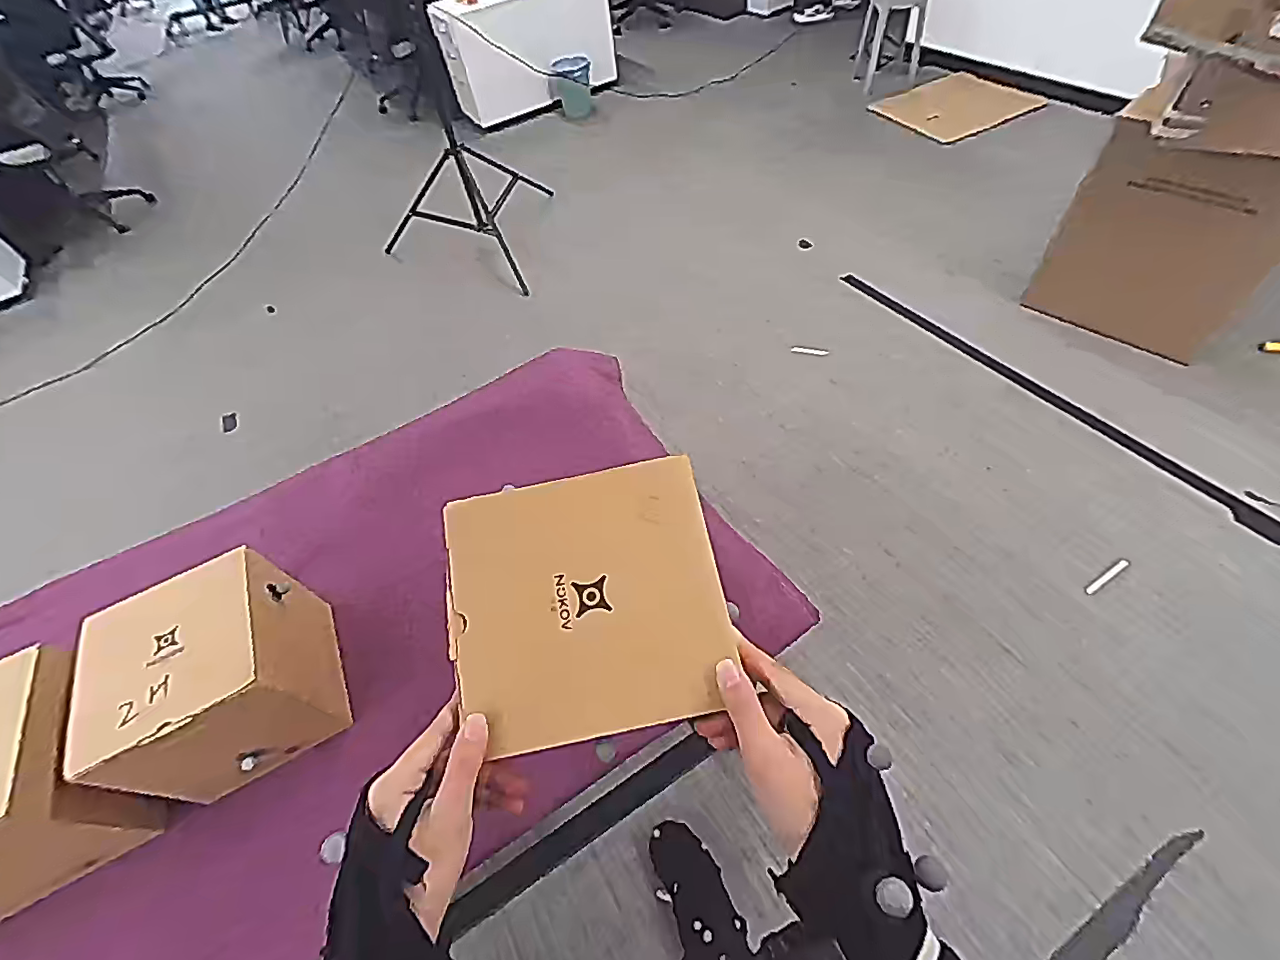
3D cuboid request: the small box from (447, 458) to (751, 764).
[{"bbox_3d":[-0.028,0.102,0.420,0.179,0.176,0.168,-13,69,1],"label":"small box"}]
